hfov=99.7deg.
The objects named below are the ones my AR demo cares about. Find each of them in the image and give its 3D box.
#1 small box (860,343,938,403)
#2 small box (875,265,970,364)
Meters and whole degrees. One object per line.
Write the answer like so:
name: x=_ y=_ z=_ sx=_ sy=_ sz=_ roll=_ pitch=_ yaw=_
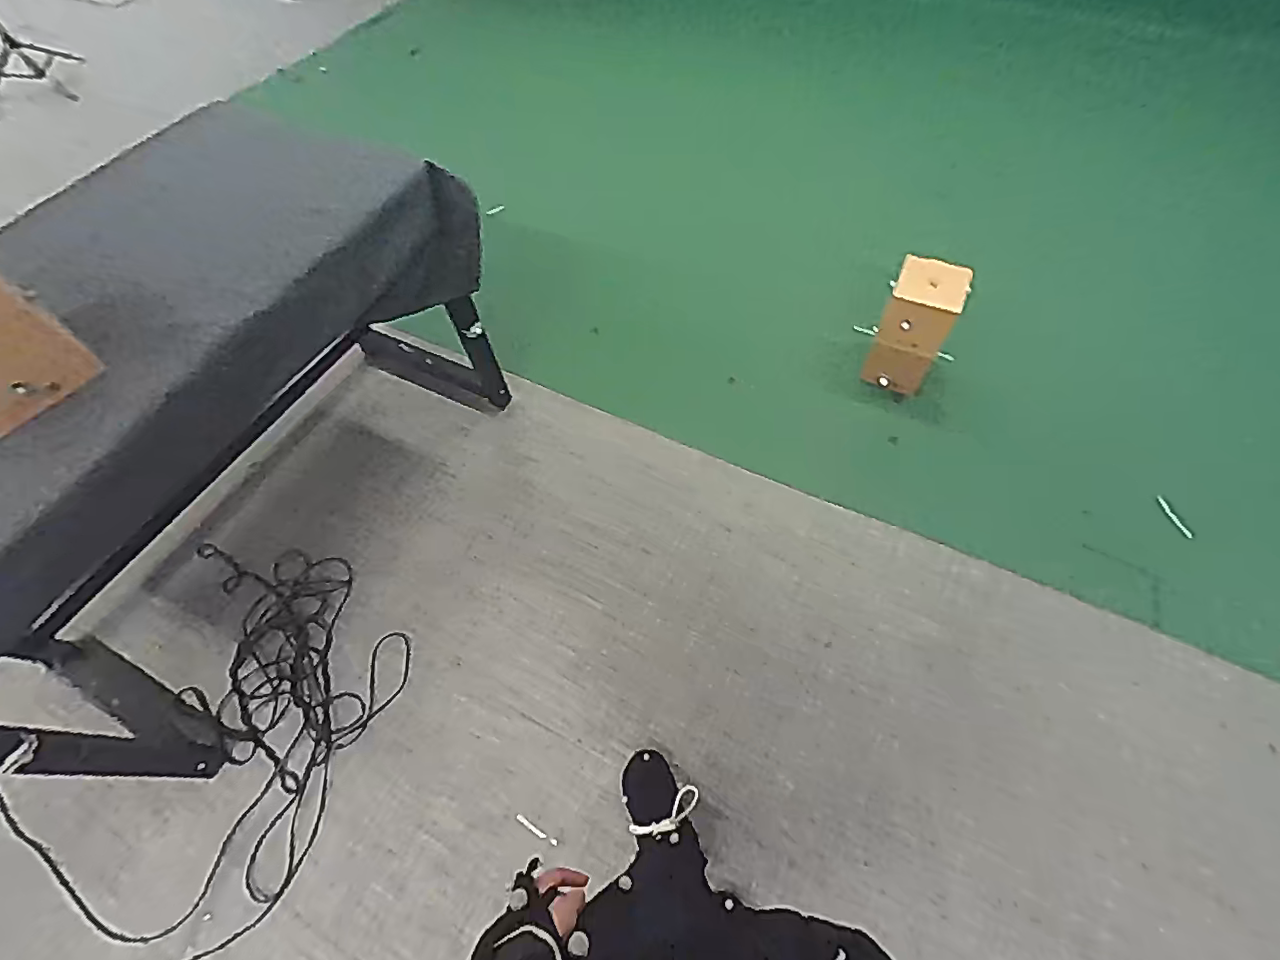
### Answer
small box: x=0.777 y=-0.363 z=1.609 sx=0.168 sy=0.176 sz=0.179 roll=22 pitch=64 yaw=16
small box: x=0.759 y=-0.446 z=1.470 sx=0.168 sy=0.176 sz=0.179 roll=22 pitch=62 yaw=15
